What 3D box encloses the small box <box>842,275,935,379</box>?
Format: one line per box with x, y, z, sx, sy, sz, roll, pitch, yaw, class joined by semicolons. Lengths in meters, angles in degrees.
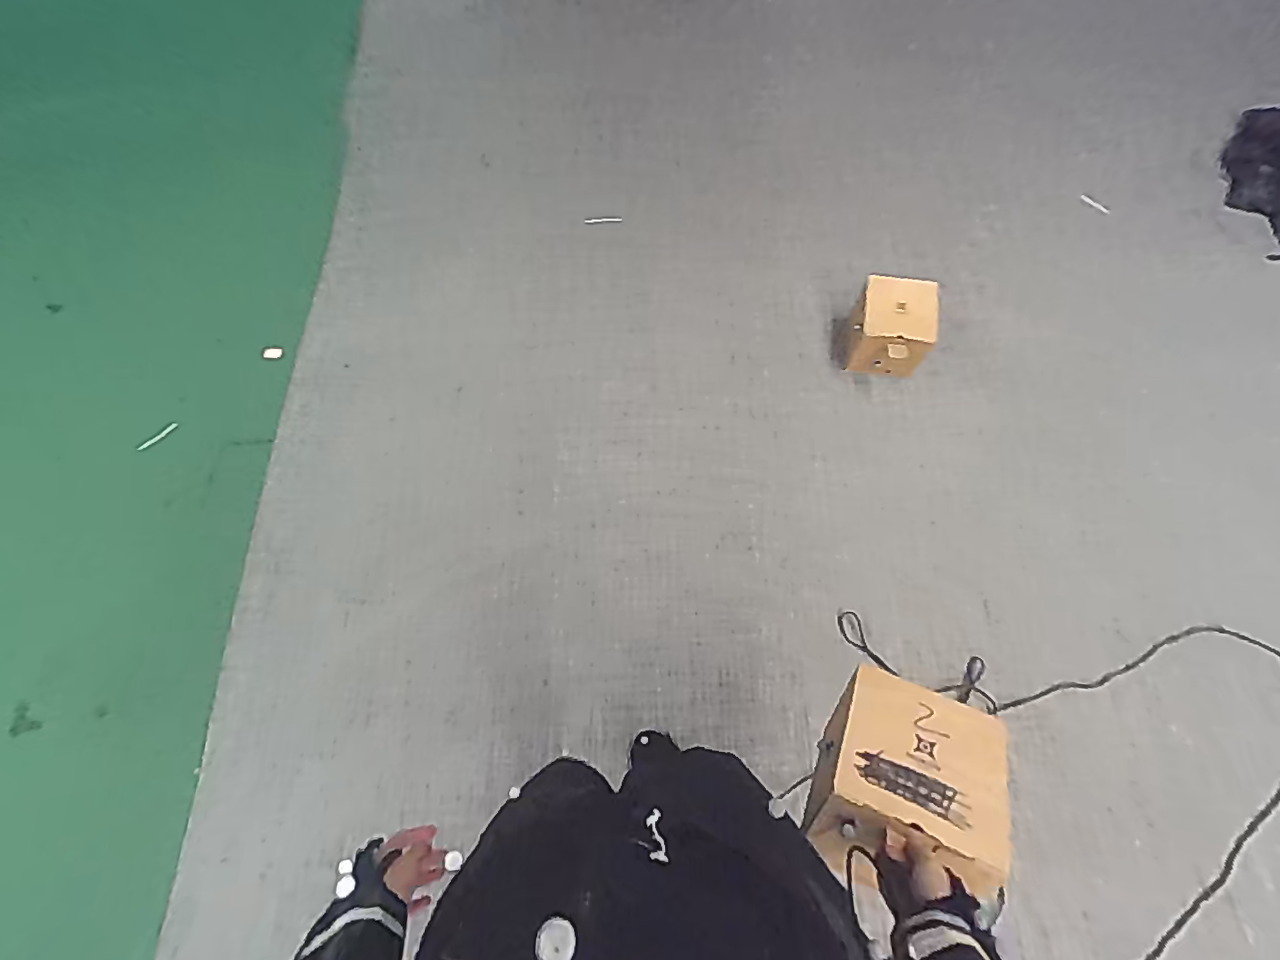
0.617;-0.380;1.357;0.168;0.176;0.179;9;71;6;small box
